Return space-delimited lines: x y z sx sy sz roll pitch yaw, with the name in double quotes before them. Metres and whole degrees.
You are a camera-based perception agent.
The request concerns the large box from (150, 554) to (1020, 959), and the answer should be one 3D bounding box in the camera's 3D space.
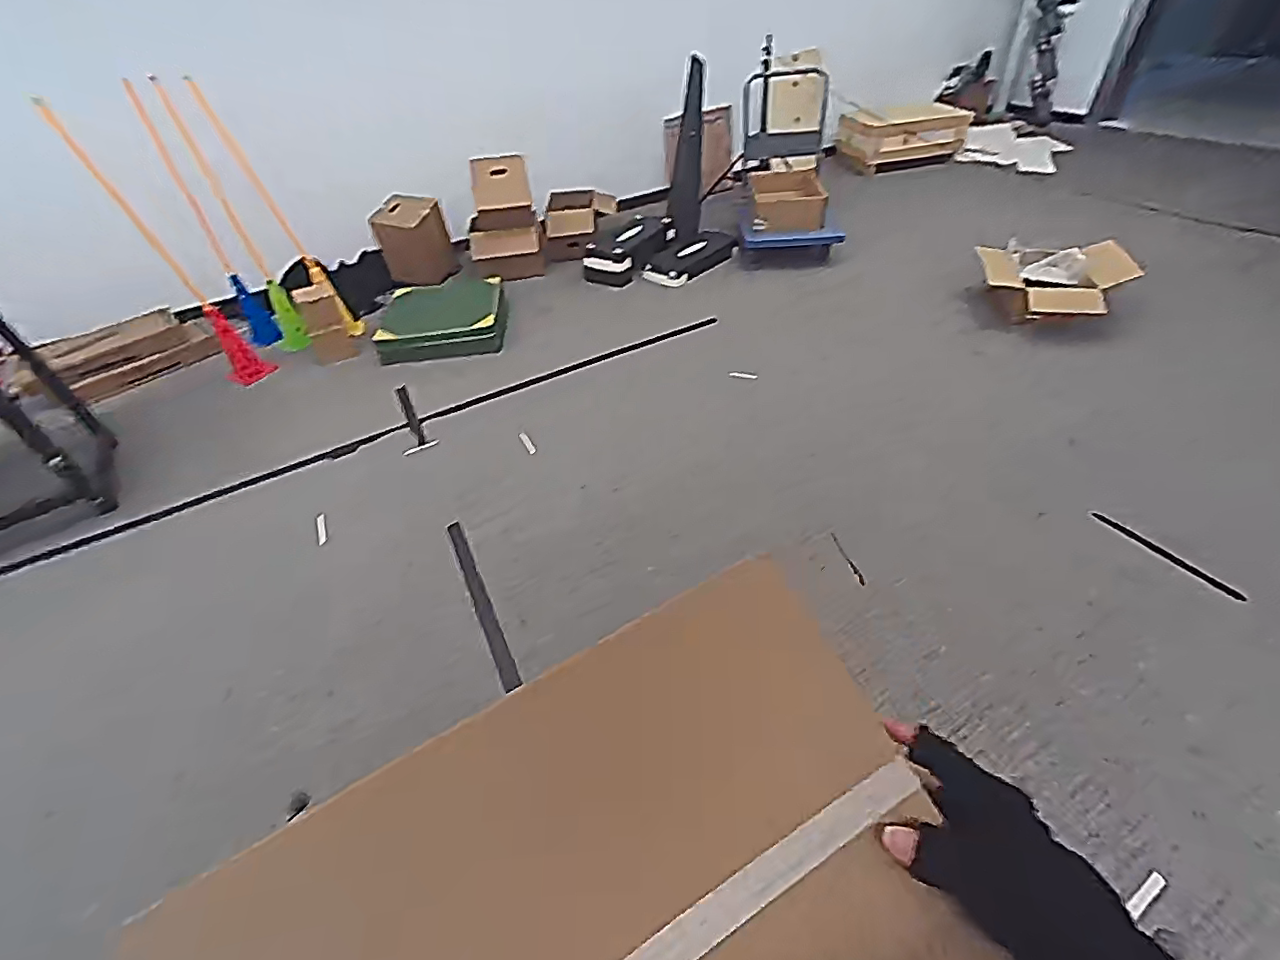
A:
"large box" -0.028 0.316 0.433 0.408 0.320 0.320 -28 77 -14
